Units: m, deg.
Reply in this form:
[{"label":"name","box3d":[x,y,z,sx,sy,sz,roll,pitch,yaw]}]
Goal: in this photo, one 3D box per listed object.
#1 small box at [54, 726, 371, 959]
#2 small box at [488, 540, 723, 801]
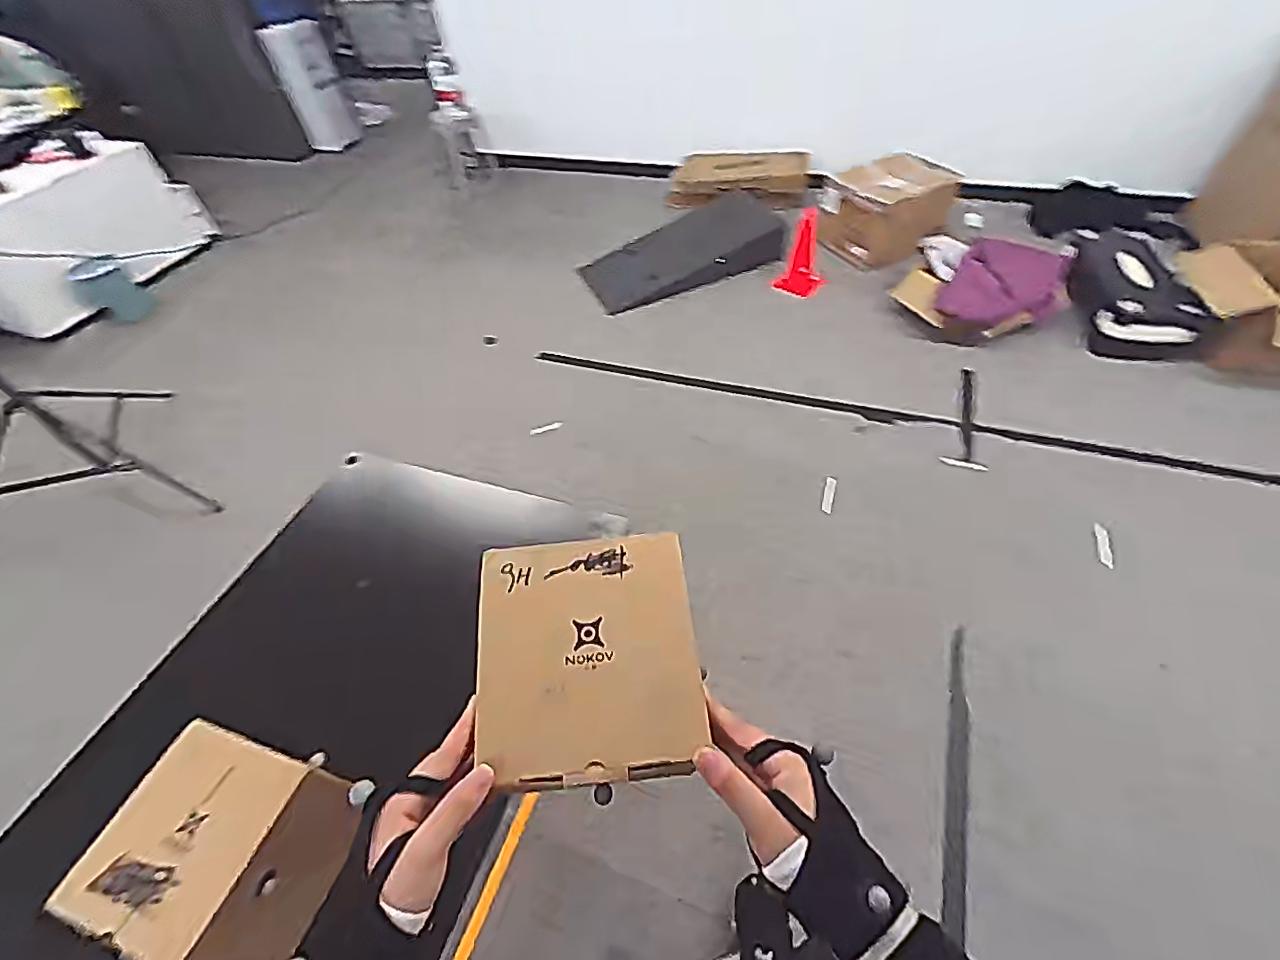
[{"label":"small box","box3d":[-0.436,0.404,0.590,0.168,0.176,0.179,12,52,15]},{"label":"small box","box3d":[-0.028,0.170,0.475,0.168,0.176,0.179,-5,61,-2]}]
